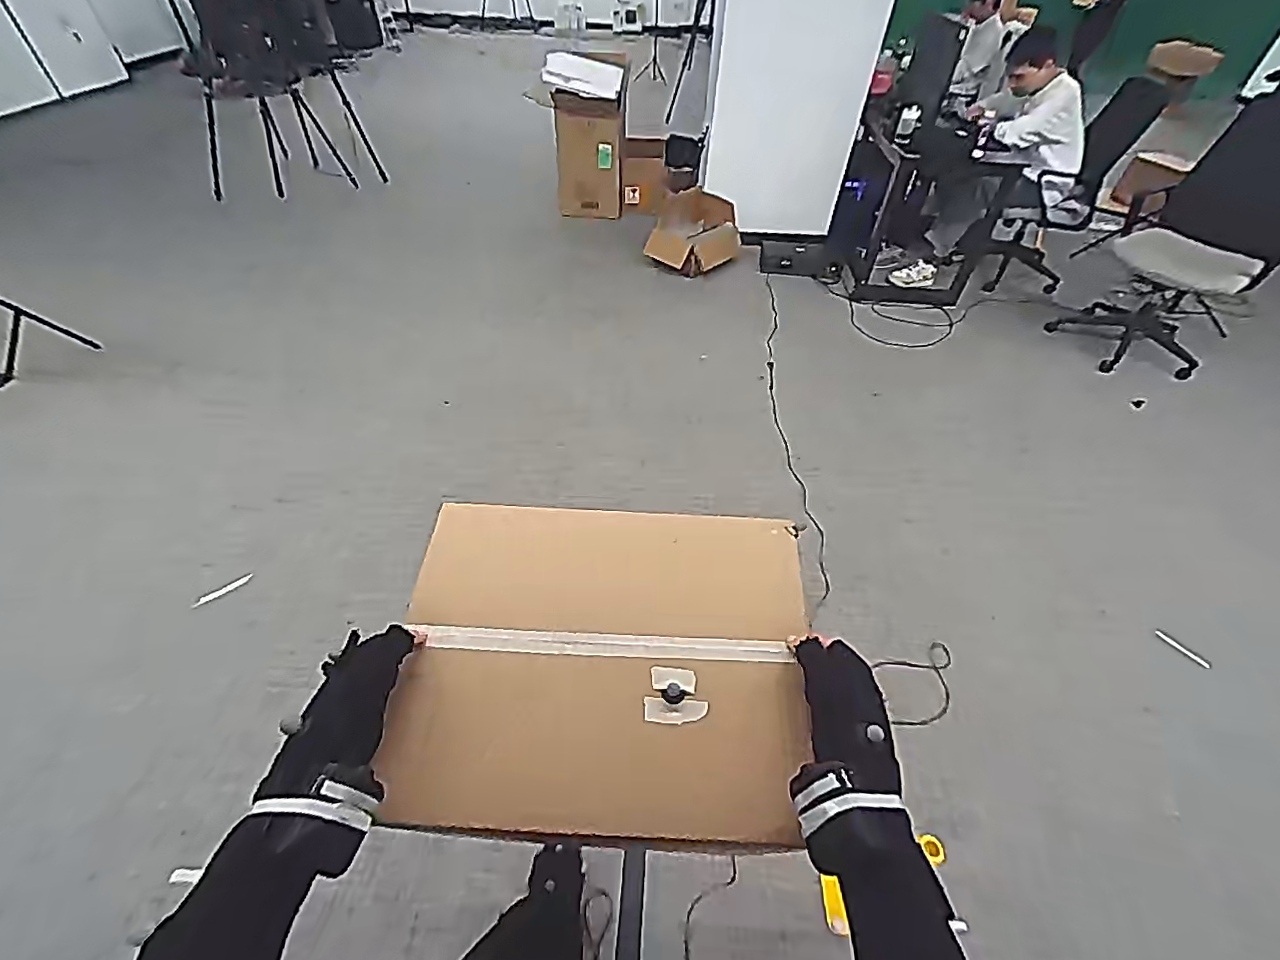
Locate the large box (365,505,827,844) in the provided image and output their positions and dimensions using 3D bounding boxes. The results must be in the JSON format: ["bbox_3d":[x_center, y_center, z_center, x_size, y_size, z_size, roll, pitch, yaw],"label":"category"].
[{"bbox_3d":[-0.037,0.248,0.664,0.408,0.320,0.320,3,55,0],"label":"large box"}]
